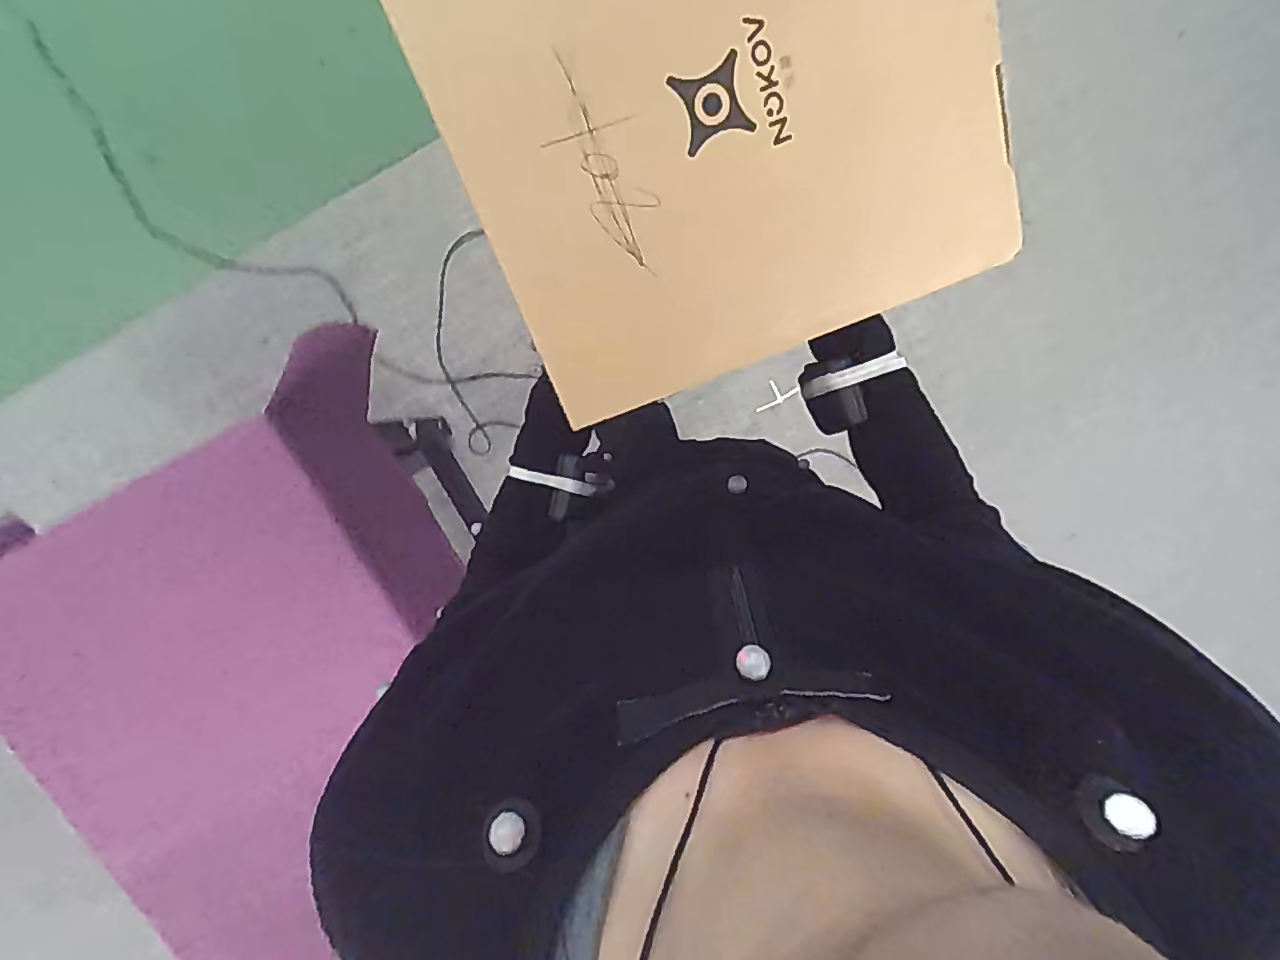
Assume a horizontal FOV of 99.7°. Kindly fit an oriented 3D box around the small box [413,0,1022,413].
[{"bbox_3d":[0.028,-0.151,0.251,0.179,0.176,0.168,-19,108,5],"label":"small box"}]
